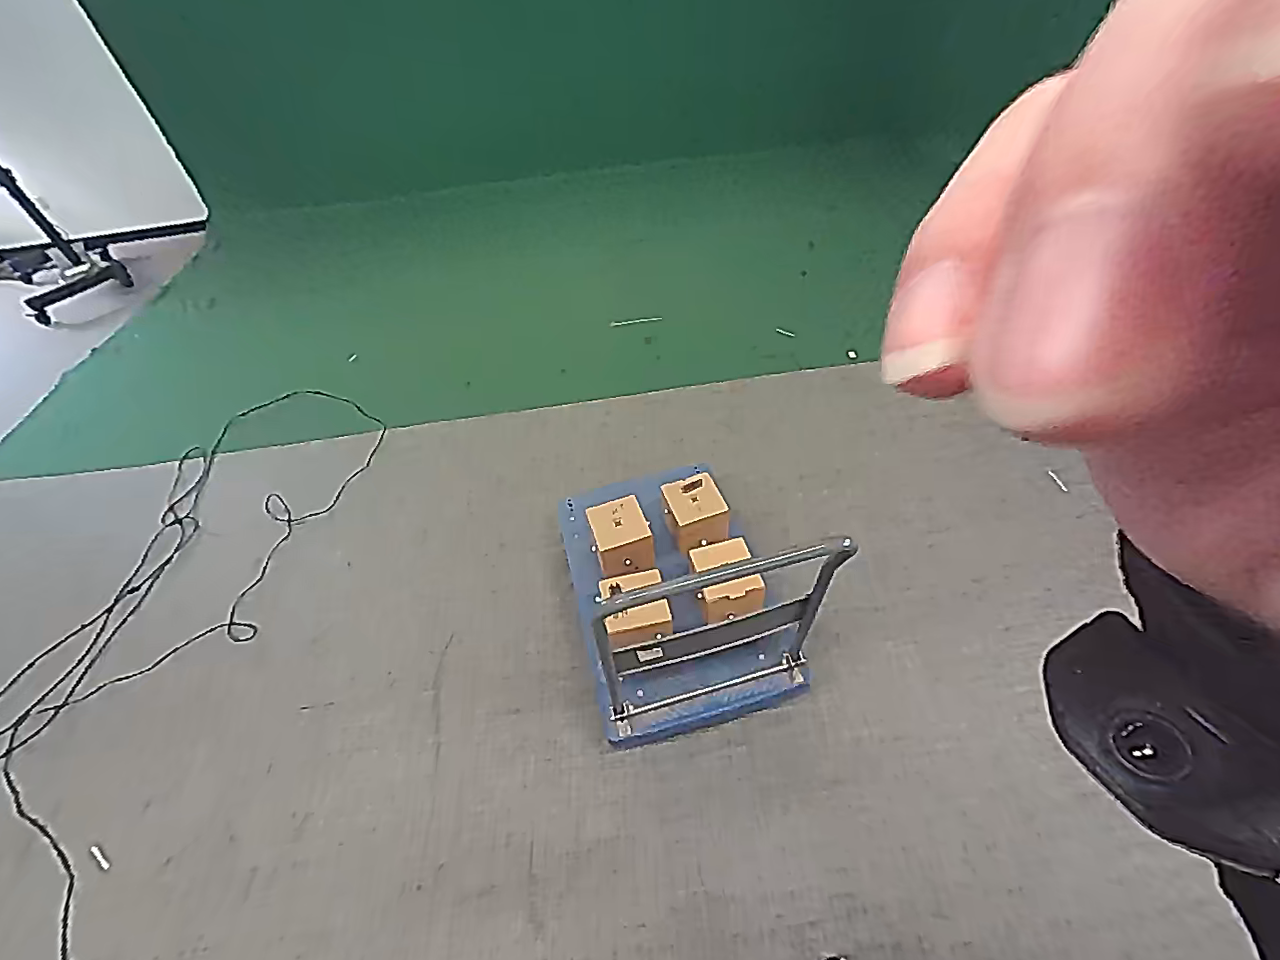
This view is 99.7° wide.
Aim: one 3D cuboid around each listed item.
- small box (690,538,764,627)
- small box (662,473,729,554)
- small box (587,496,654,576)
[{"bbox_3d":[0.247,0.301,1.588,0.168,0.176,0.179,-13,48,-6],"label":"small box"},{"bbox_3d":[0.177,0.111,1.767,0.168,0.176,0.179,-17,49,-8],"label":"small box"},{"bbox_3d":[-0.060,0.184,1.727,0.168,0.176,0.179,-16,48,-10],"label":"small box"}]
